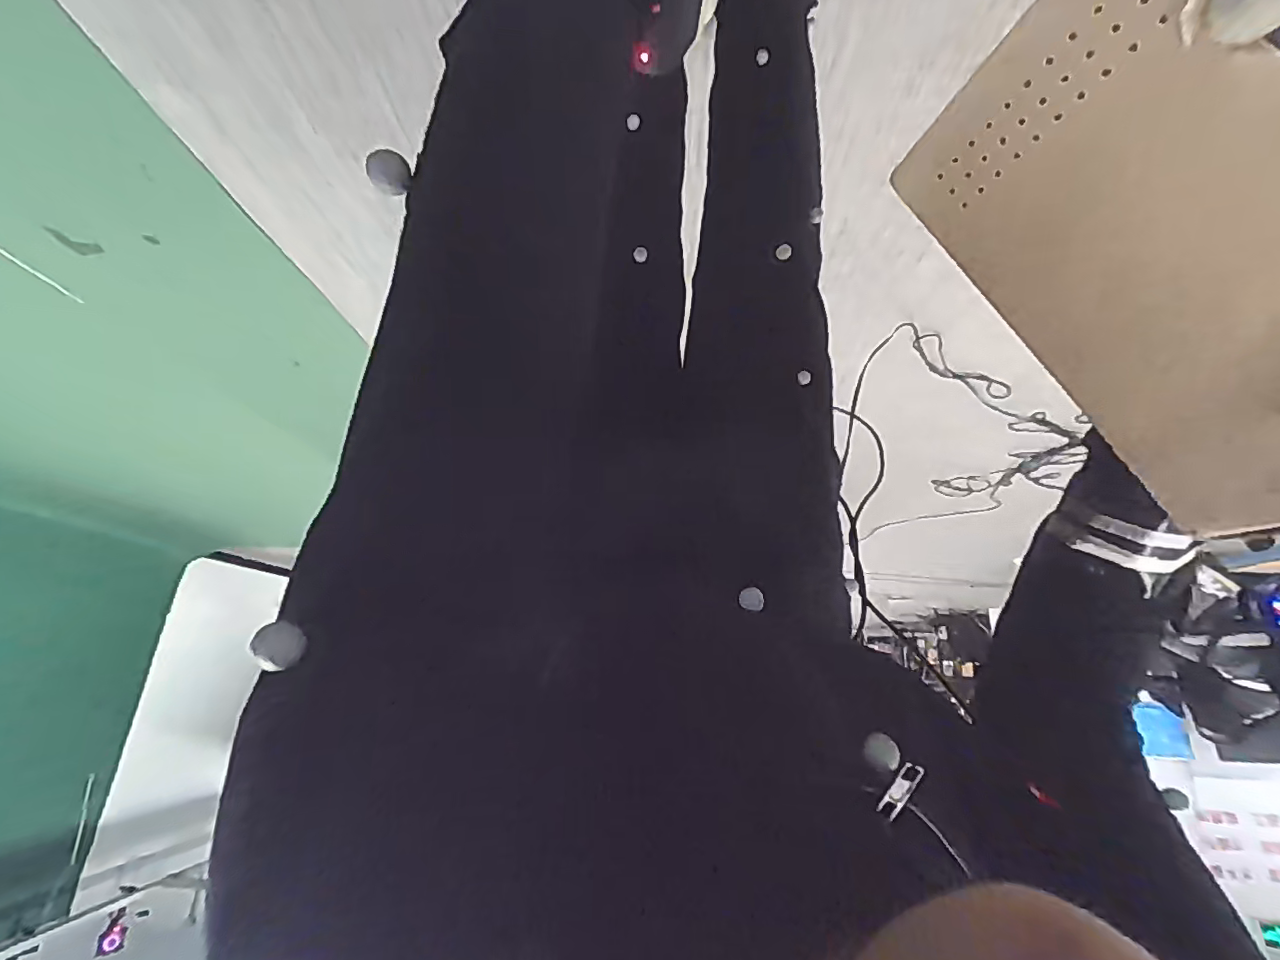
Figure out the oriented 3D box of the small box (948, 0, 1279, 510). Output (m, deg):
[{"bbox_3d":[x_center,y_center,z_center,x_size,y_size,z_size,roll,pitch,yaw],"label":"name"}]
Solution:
[{"bbox_3d":[0.221,-0.120,0.139,0.168,0.176,0.179,-35,175,-21],"label":"small box"}]
